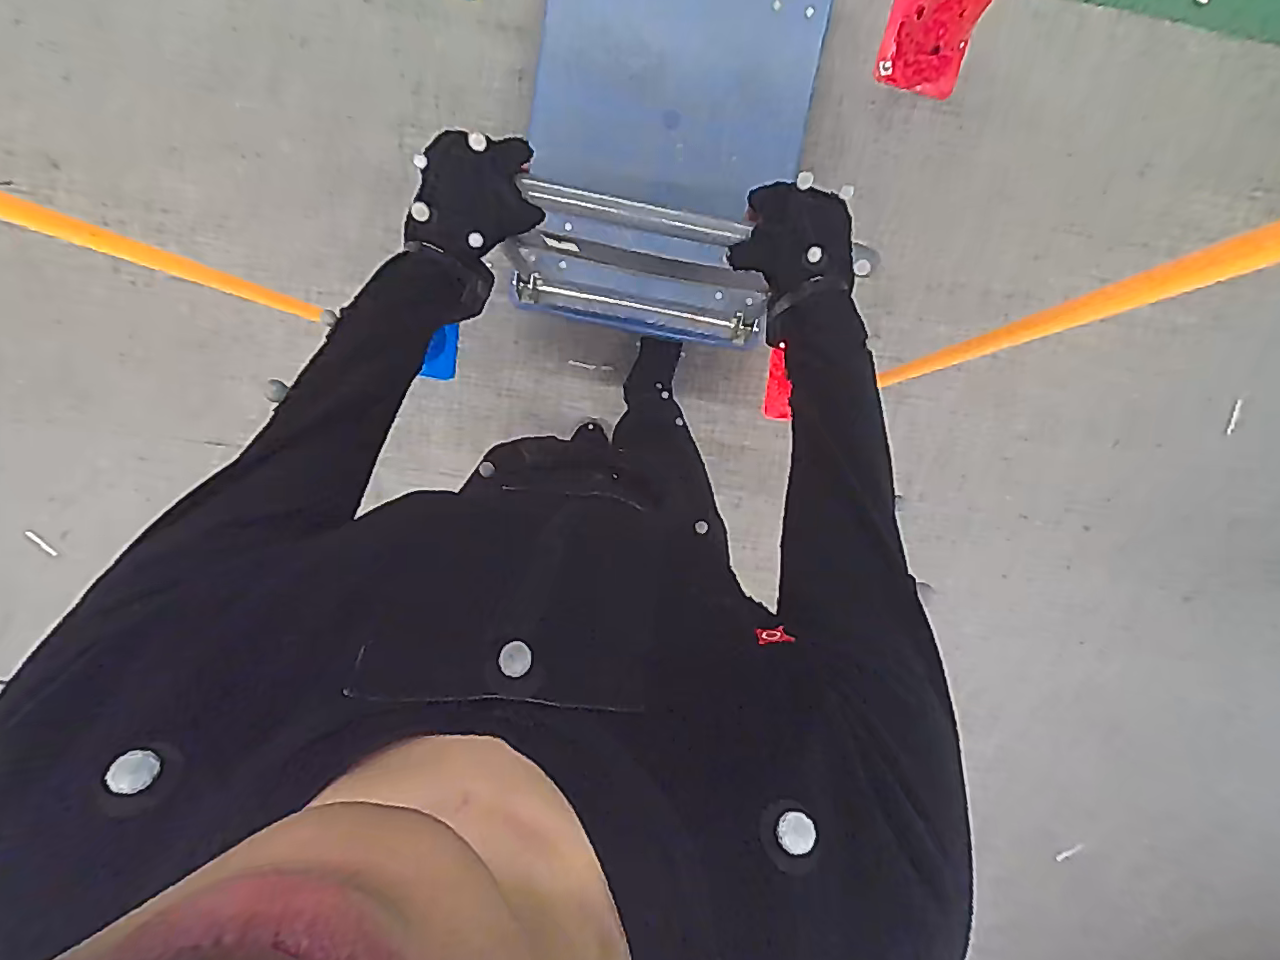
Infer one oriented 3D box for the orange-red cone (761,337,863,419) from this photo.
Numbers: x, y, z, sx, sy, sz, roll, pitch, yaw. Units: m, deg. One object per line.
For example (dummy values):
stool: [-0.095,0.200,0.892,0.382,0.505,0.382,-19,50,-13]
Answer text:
orange-red cone: [0.431,-0.237,1.266,0.199,0.360,0.198,8,100,-1]
